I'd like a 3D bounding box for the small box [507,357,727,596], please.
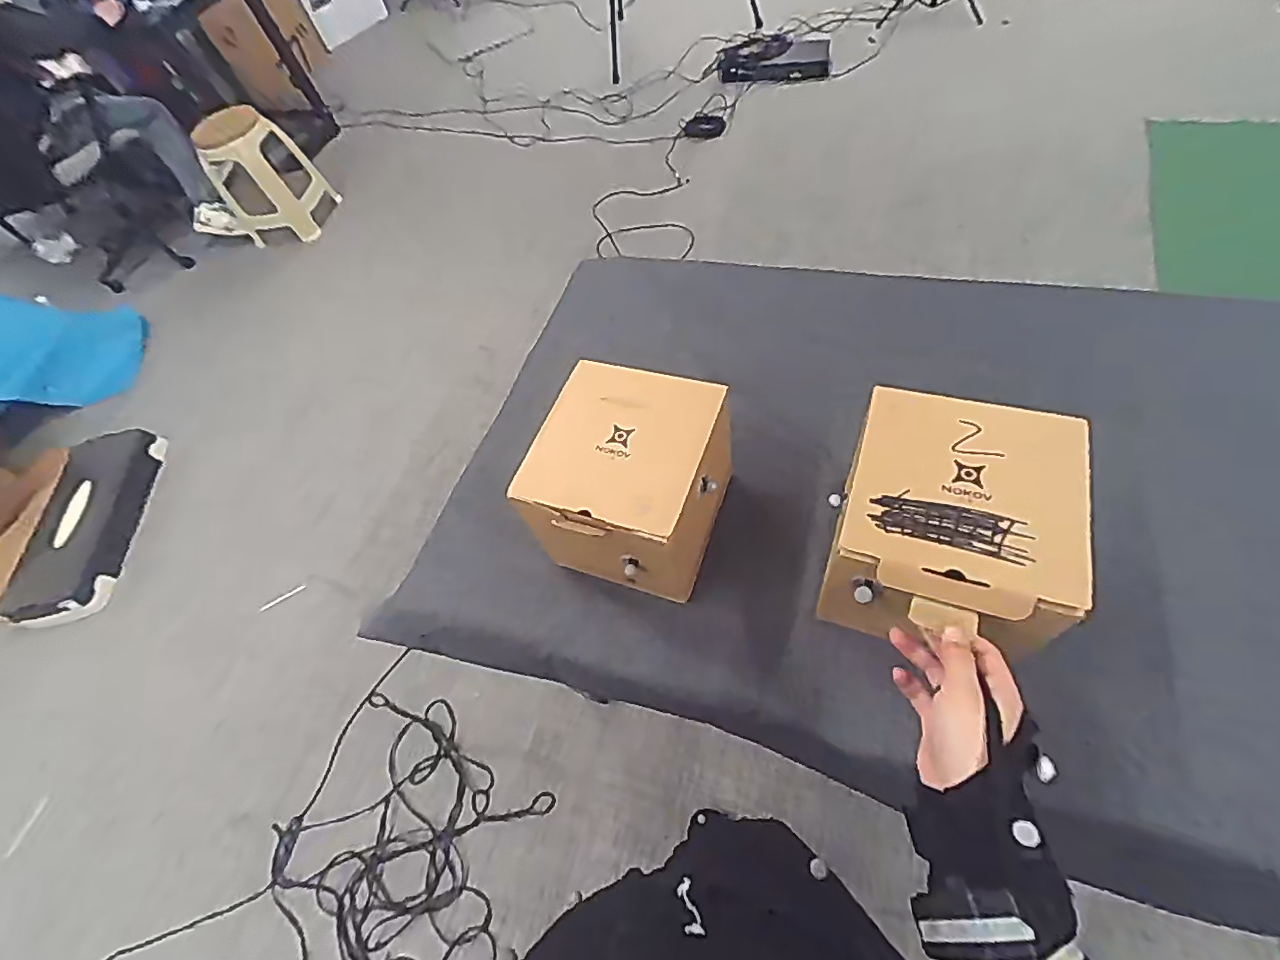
[{"bbox_3d":[-0.007,0.001,0.573,0.168,0.176,0.179,14,62,17],"label":"small box"}]
